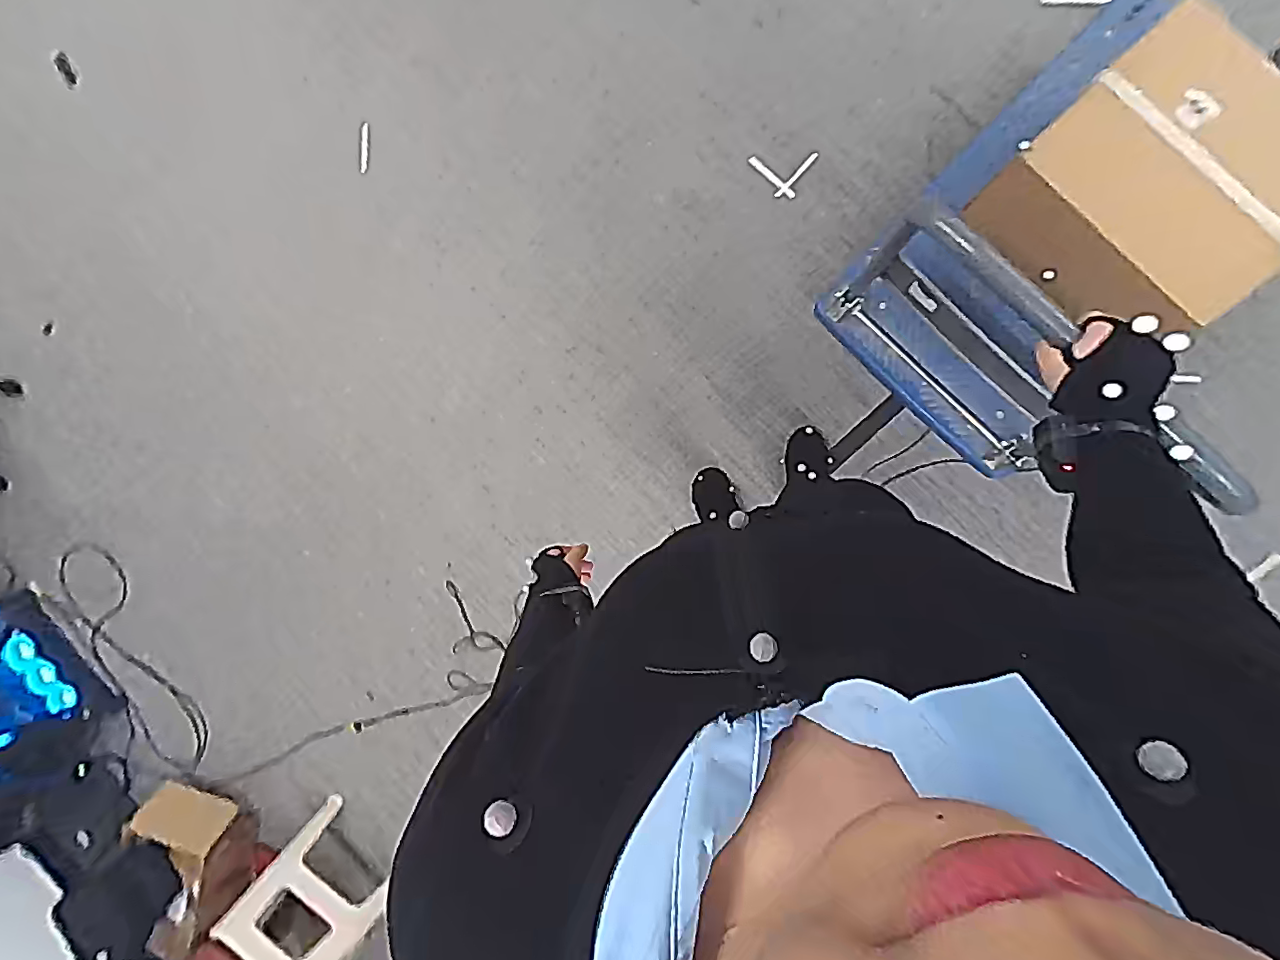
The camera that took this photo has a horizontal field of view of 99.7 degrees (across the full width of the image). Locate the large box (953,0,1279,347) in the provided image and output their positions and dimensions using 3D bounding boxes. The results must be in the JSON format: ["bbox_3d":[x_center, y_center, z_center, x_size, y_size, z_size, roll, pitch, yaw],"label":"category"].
[{"bbox_3d":[0.880,-0.506,0.976,0.320,0.320,0.408,-44,85,11],"label":"large box"}]
